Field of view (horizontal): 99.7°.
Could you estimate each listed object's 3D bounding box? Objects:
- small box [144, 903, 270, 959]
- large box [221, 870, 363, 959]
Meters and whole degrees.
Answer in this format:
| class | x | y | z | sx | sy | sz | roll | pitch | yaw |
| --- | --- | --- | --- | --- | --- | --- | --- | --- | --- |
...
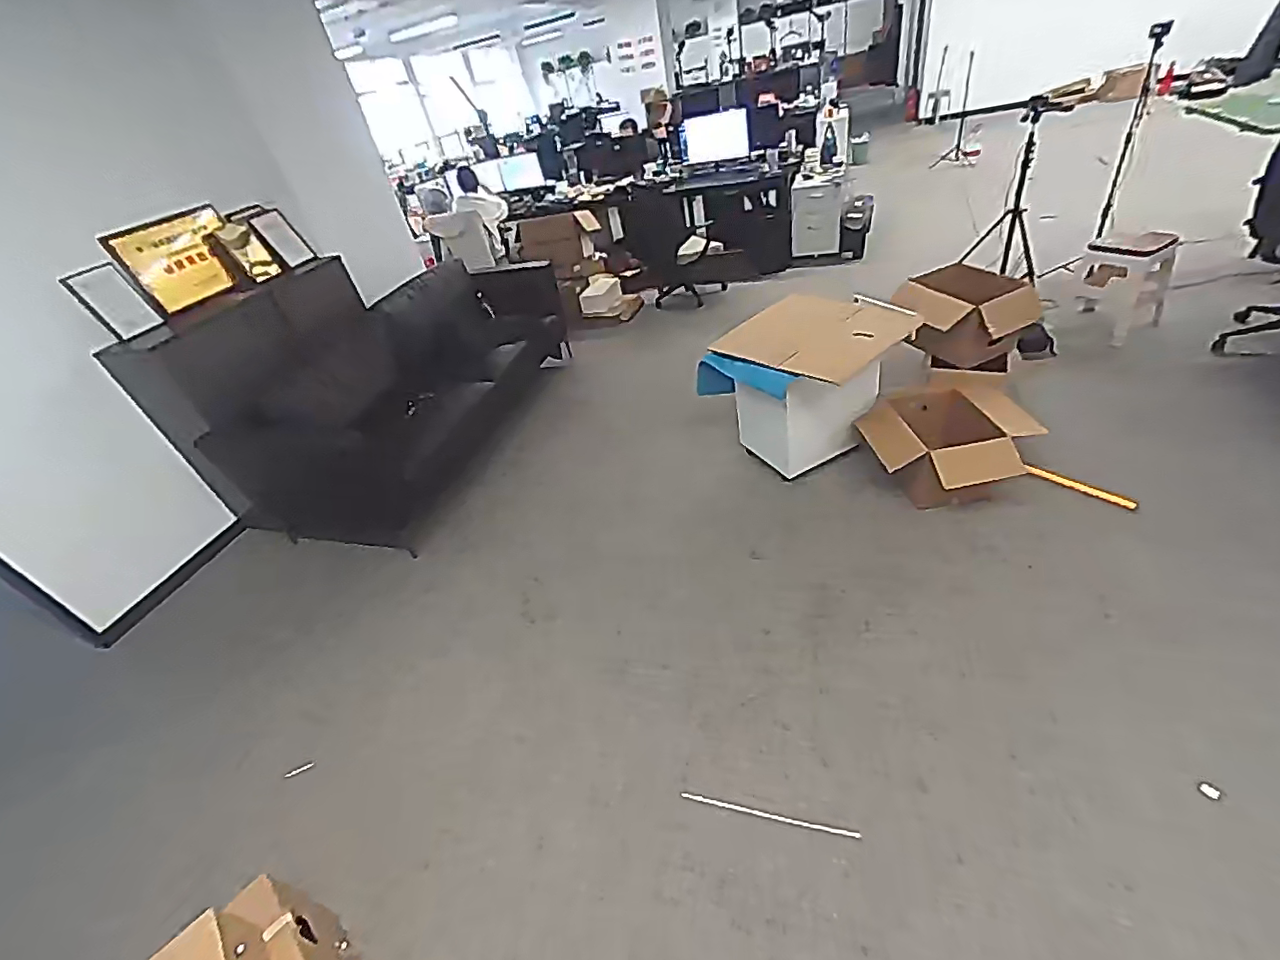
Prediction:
| class | x | y | z | sx | sy | sz | roll | pitch | yaw |
| --- | --- | --- | --- | --- | --- | --- | --- | --- | --- |
| small box | -0.865 | 1.006 | 1.076 | 0.179 | 0.176 | 0.168 | 26 | 52 | 38 |
| large box | -0.897 | 1.218 | 1.221 | 0.320 | 0.320 | 0.408 | 21 | 50 | 37 |
